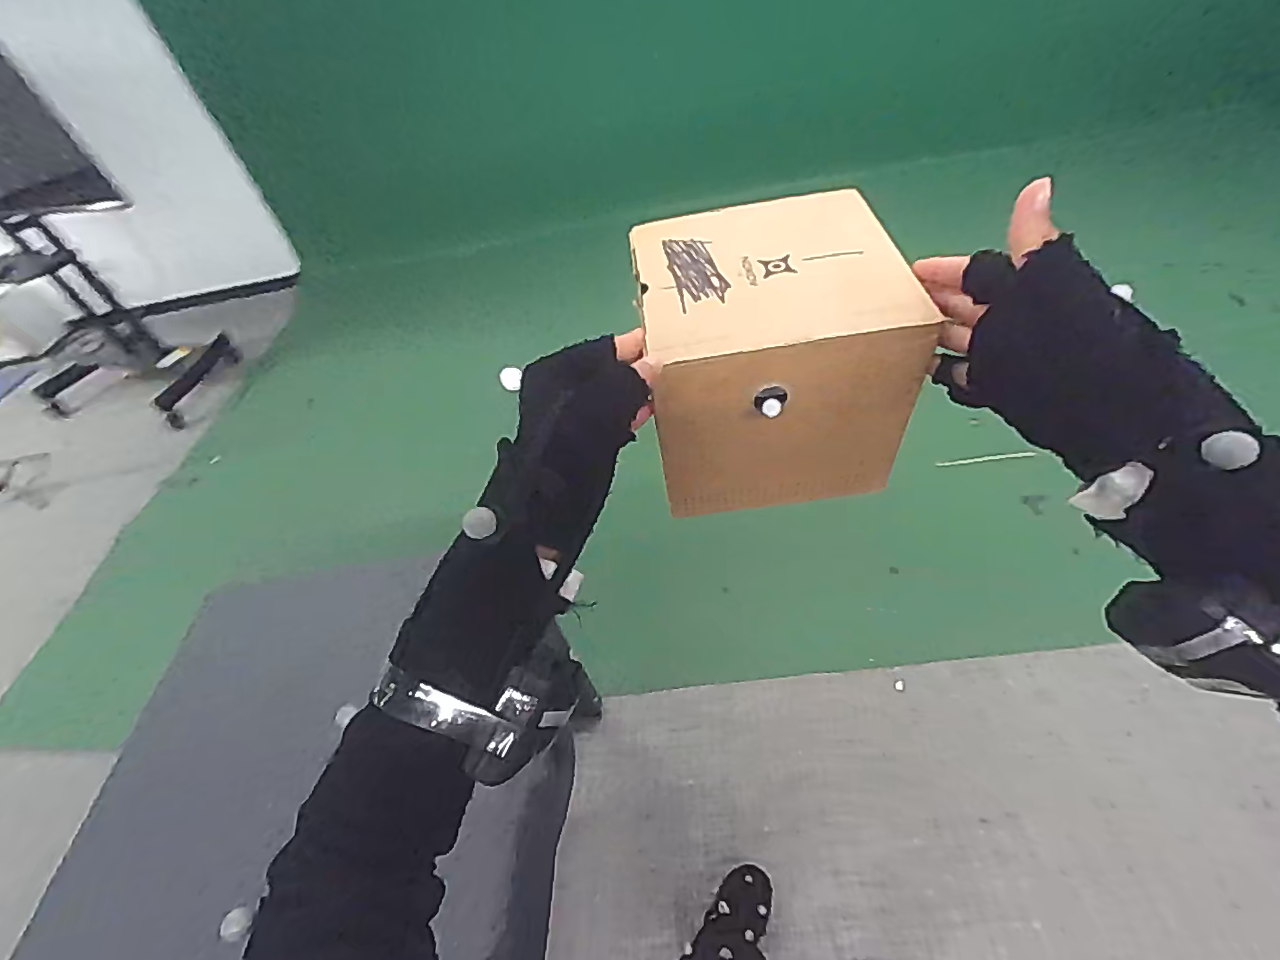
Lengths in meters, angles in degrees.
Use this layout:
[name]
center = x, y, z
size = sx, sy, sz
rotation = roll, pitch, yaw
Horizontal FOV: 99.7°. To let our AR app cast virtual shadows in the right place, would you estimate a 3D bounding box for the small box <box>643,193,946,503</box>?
[small box]
center = 0.102, -0.095, 0.433
size = 0.179, 0.176, 0.168
rotation = -7, 53, 4
